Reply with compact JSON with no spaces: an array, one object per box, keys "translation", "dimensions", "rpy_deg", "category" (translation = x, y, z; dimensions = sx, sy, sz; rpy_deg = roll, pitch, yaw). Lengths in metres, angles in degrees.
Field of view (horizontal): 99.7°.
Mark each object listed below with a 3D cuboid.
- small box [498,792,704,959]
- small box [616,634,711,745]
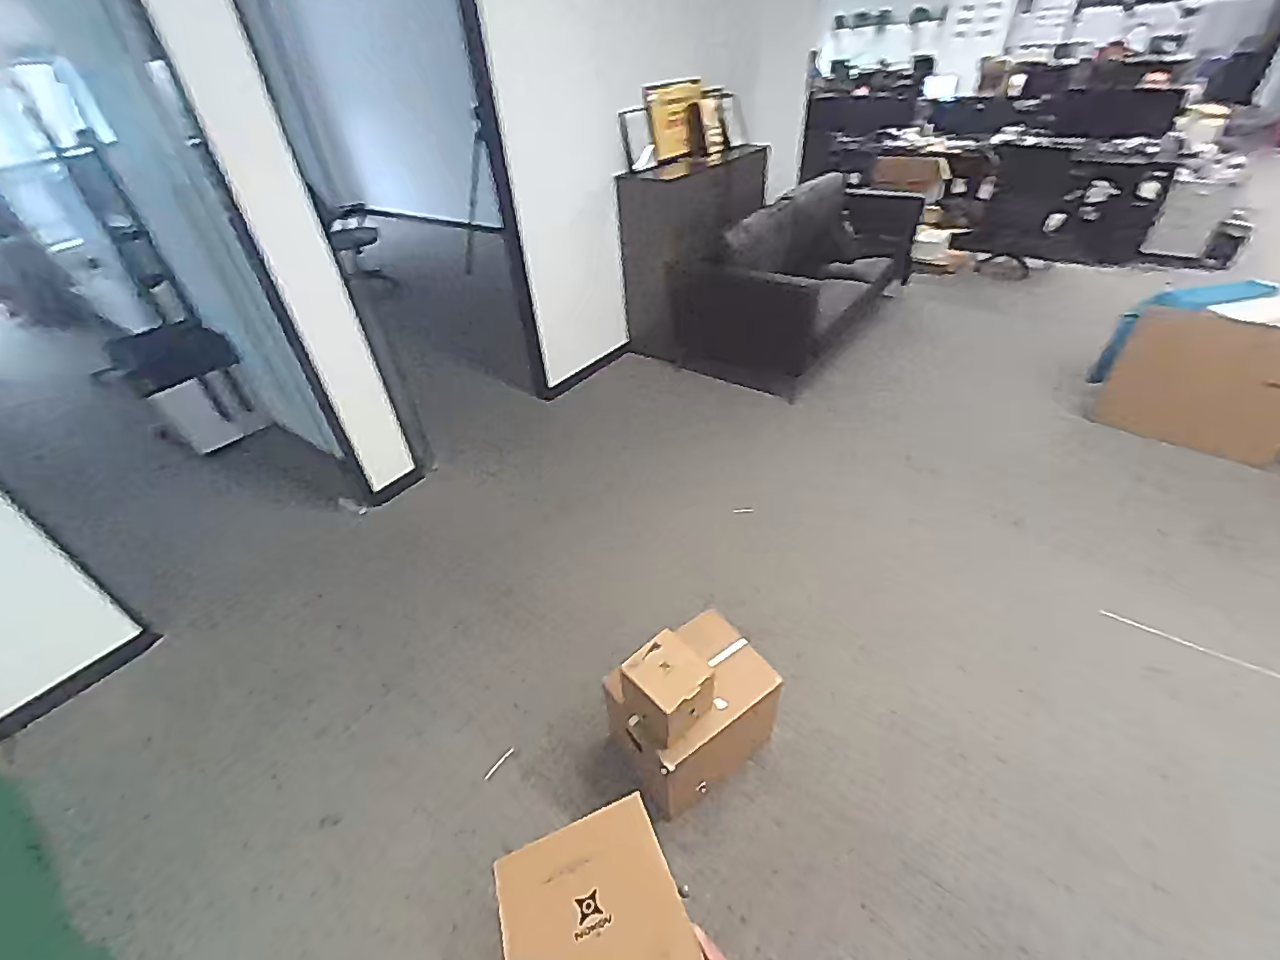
[{"translation":[-0.030,0.468,0.538],"dimensions":[0.168,0.176,0.179],"rpy_deg":[-17,27,-13],"category":"small box"},{"translation":[0.060,0.535,1.364],"dimensions":[0.168,0.176,0.179],"rpy_deg":[-31,47,-31],"category":"small box"}]
